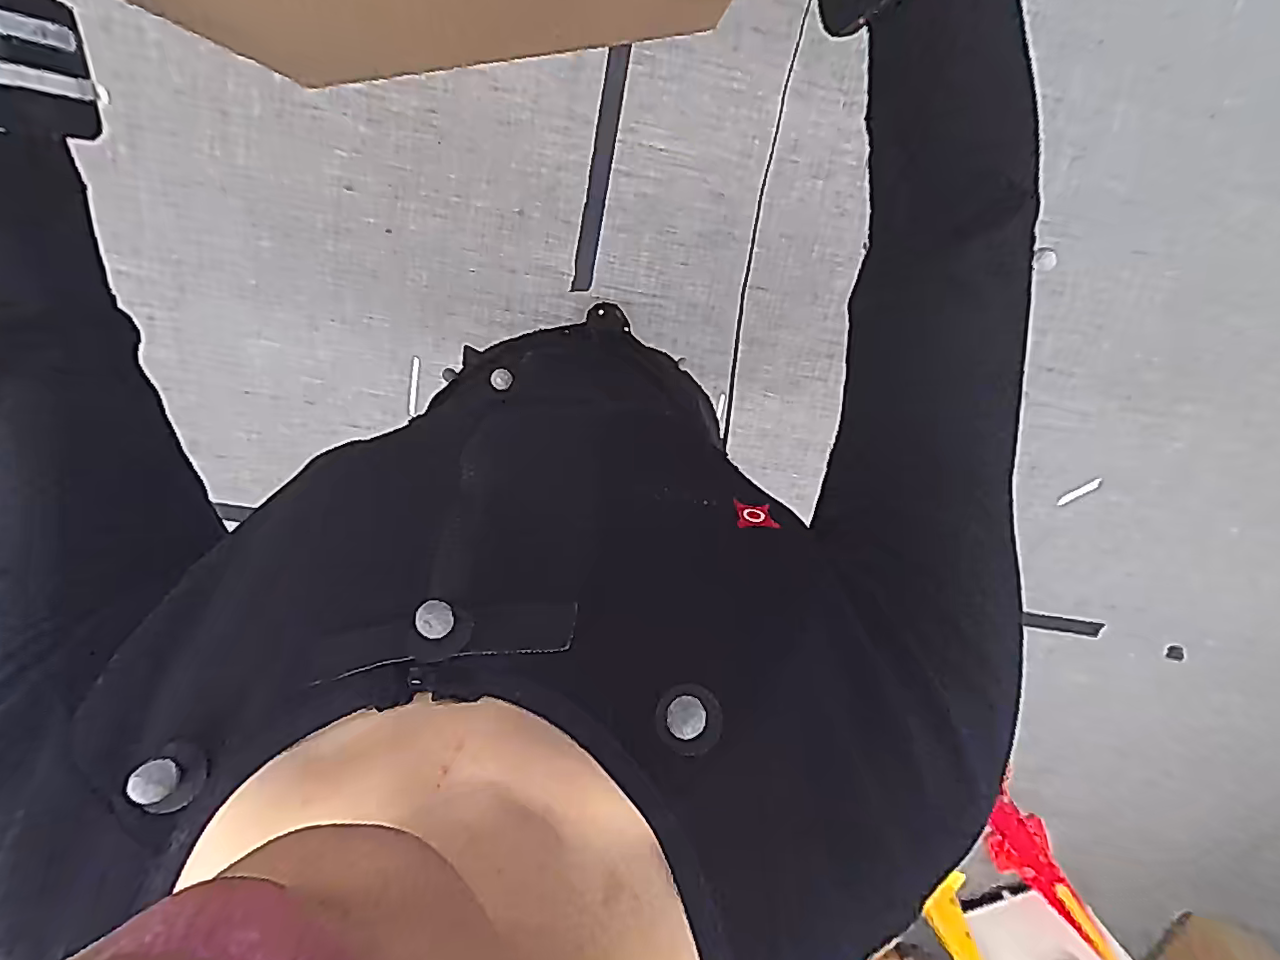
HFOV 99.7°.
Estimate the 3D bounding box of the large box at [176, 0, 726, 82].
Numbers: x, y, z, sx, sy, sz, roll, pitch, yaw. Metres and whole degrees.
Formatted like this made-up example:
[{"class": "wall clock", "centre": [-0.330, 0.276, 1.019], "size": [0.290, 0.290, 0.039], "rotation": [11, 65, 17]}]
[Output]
[{"class": "large box", "centre": [-0.129, -0.489, 0.326], "size": [0.408, 0.320, 0.320], "rotation": [-8, 116, -1]}]
